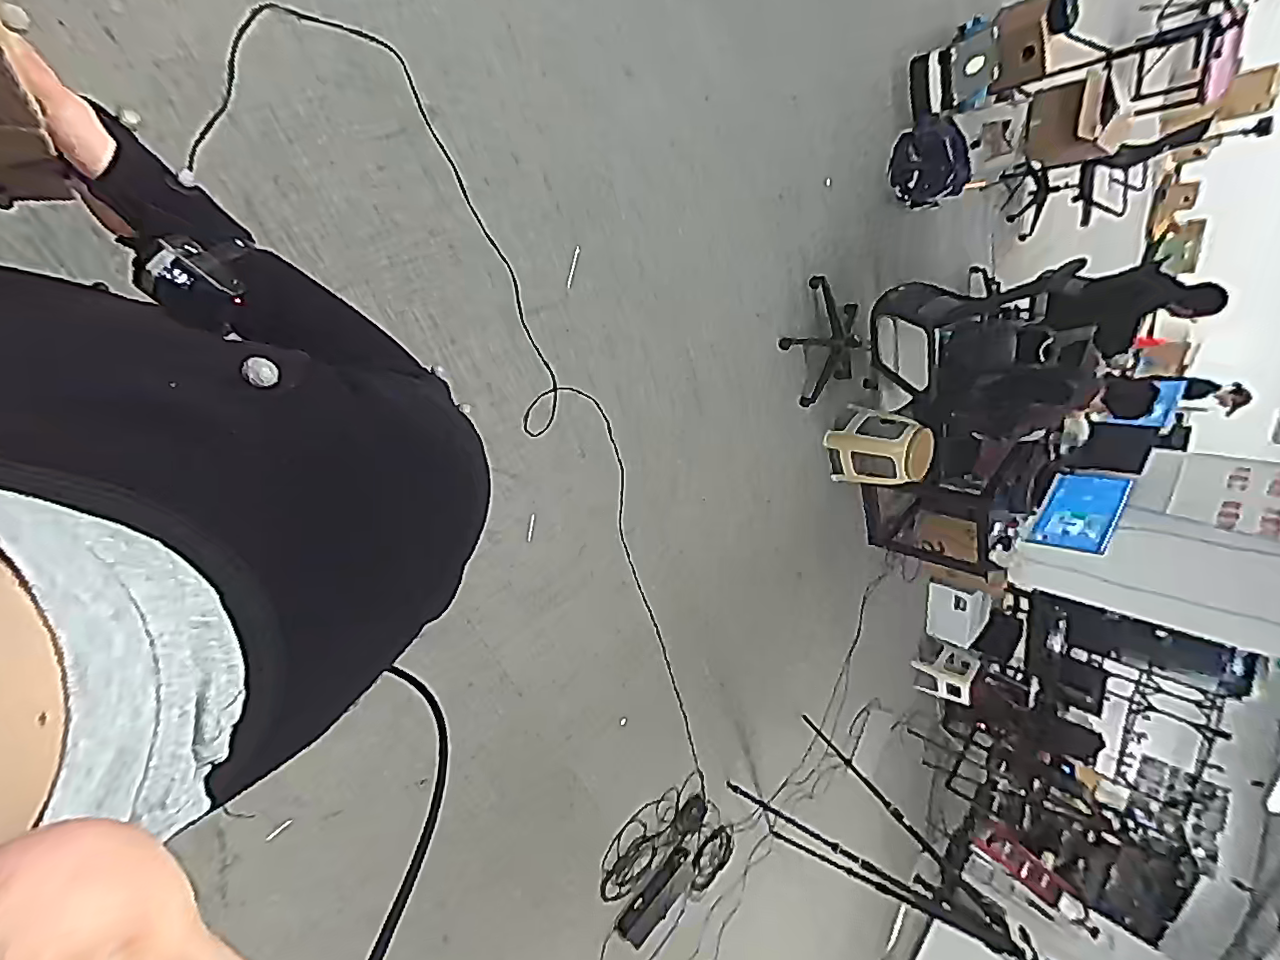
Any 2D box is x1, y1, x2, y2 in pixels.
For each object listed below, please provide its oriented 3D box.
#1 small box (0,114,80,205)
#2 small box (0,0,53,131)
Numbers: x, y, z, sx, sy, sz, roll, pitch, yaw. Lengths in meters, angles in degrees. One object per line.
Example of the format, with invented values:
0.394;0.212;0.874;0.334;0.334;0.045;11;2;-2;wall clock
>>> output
-0.565;-0.309;0.401;0.168;0.176;0.179;-23;117;-37;small box
-0.342;-0.234;0.170;0.168;0.176;0.179;-23;120;-36;small box
